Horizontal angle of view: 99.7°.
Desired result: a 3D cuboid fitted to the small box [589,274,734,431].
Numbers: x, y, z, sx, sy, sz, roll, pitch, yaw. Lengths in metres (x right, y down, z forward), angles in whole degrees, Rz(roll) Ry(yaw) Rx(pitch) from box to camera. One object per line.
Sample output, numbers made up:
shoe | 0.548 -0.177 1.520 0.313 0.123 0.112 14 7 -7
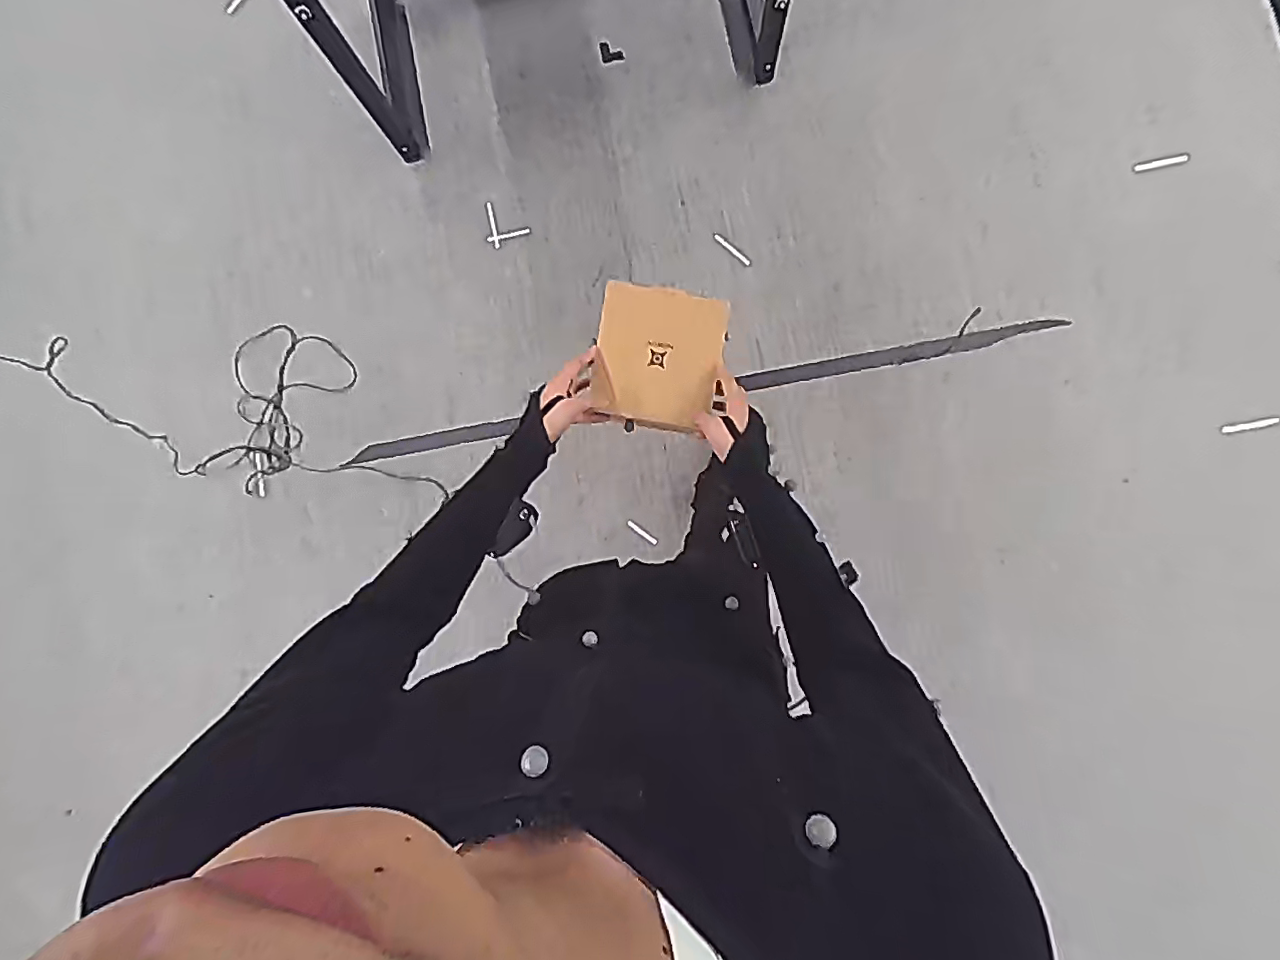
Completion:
small box | 0.025 -0.169 0.775 0.168 0.176 0.179 9 92 -3
